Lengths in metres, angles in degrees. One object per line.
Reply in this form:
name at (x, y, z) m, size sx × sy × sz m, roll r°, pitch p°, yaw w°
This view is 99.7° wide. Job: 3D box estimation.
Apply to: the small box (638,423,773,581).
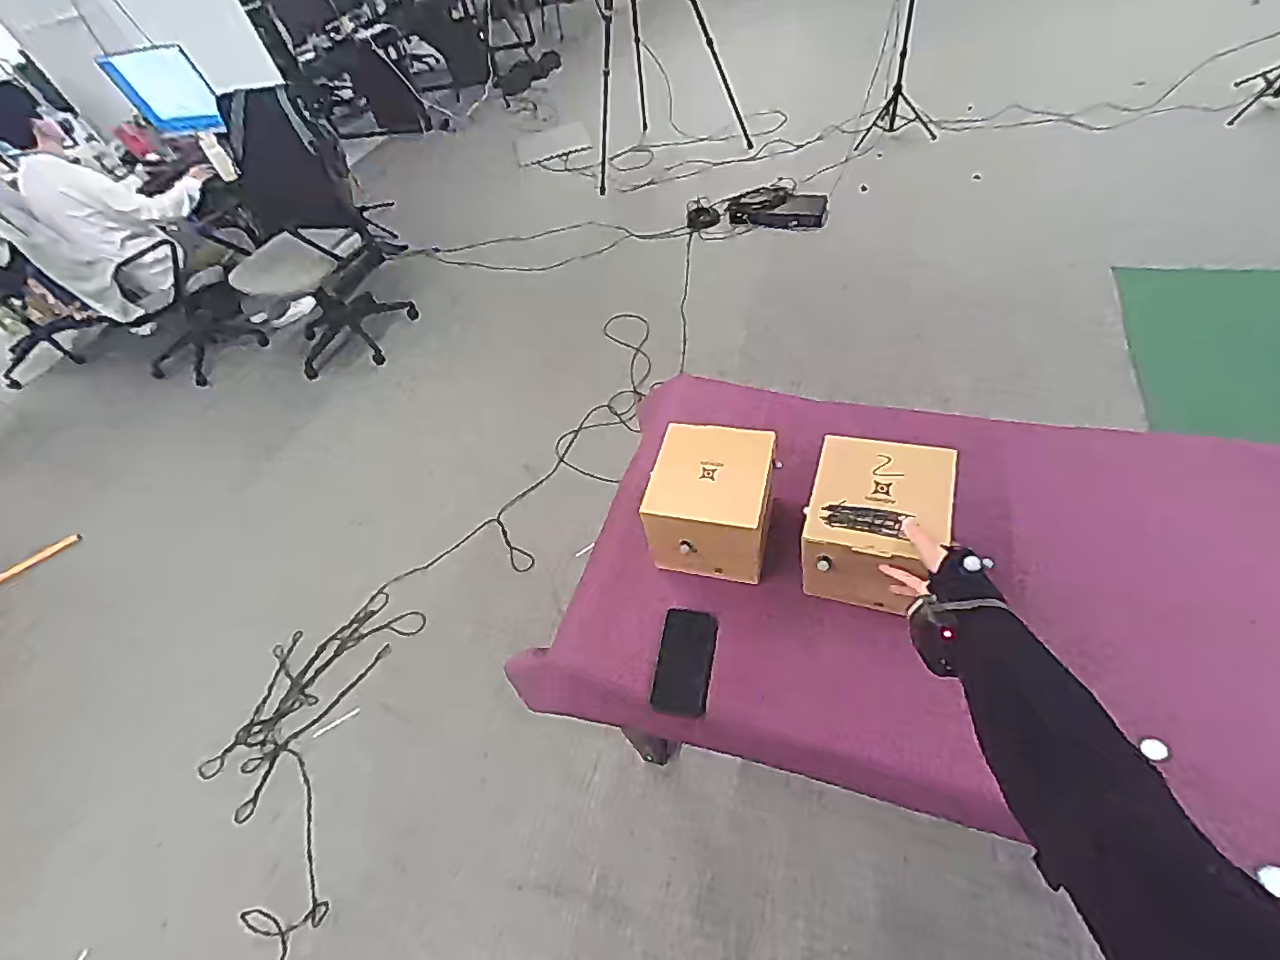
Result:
small box at (0.111, 0.035, 0.833) m, size 0.168 × 0.176 × 0.179 m, roll 6°, pitch 53°, yaw 18°
